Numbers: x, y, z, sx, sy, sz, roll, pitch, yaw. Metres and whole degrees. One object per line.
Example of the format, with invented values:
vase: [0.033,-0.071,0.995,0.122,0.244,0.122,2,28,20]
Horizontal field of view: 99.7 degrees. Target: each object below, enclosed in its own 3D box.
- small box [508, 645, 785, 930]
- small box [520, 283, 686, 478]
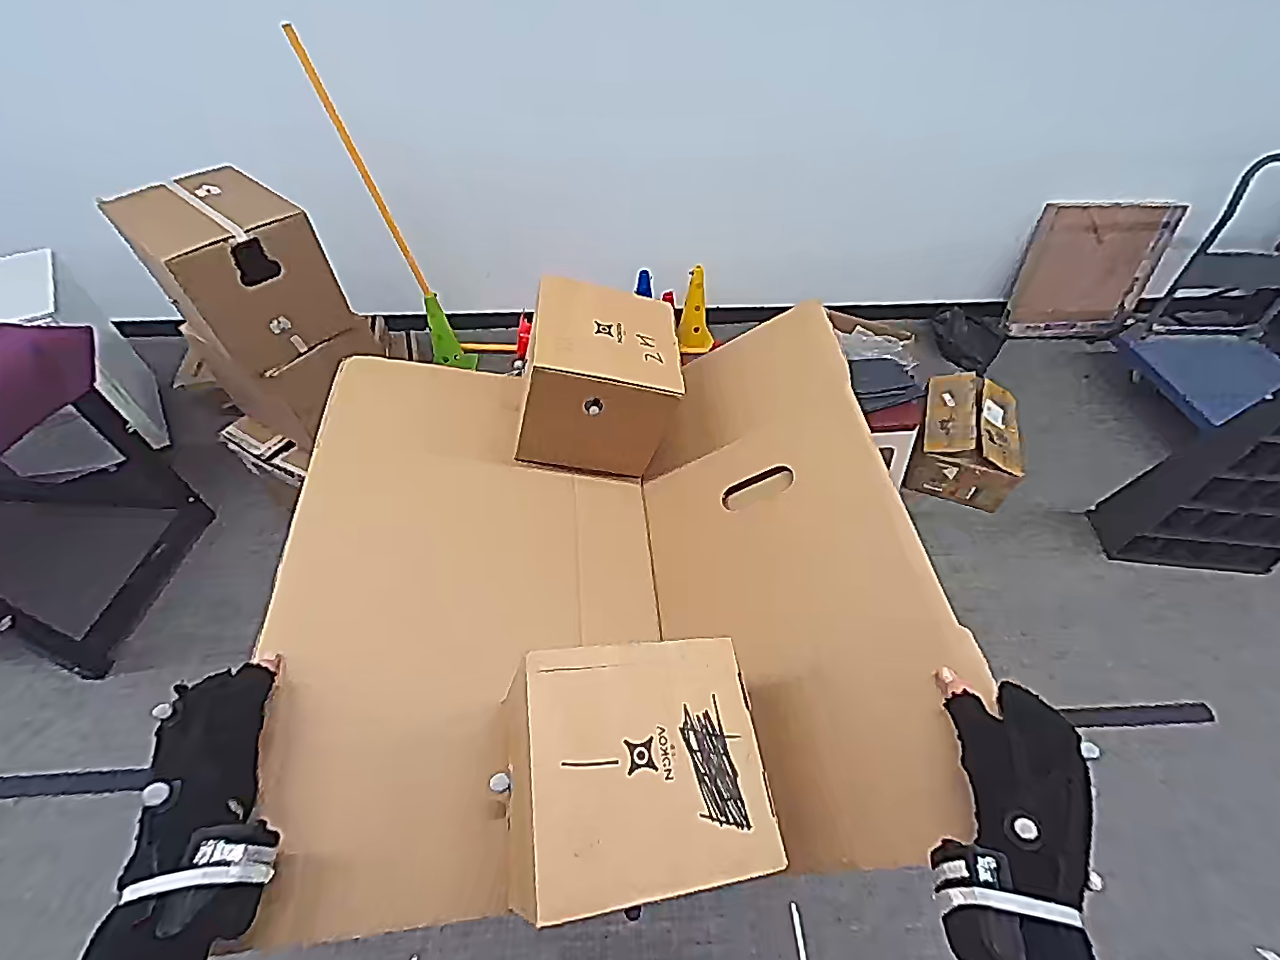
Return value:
small box: [-0.013,0.248,0.454,0.179,0.176,0.168,2,56,-19]
small box: [-0.055,-0.120,0.703,0.179,0.176,0.168,9,53,-16]
